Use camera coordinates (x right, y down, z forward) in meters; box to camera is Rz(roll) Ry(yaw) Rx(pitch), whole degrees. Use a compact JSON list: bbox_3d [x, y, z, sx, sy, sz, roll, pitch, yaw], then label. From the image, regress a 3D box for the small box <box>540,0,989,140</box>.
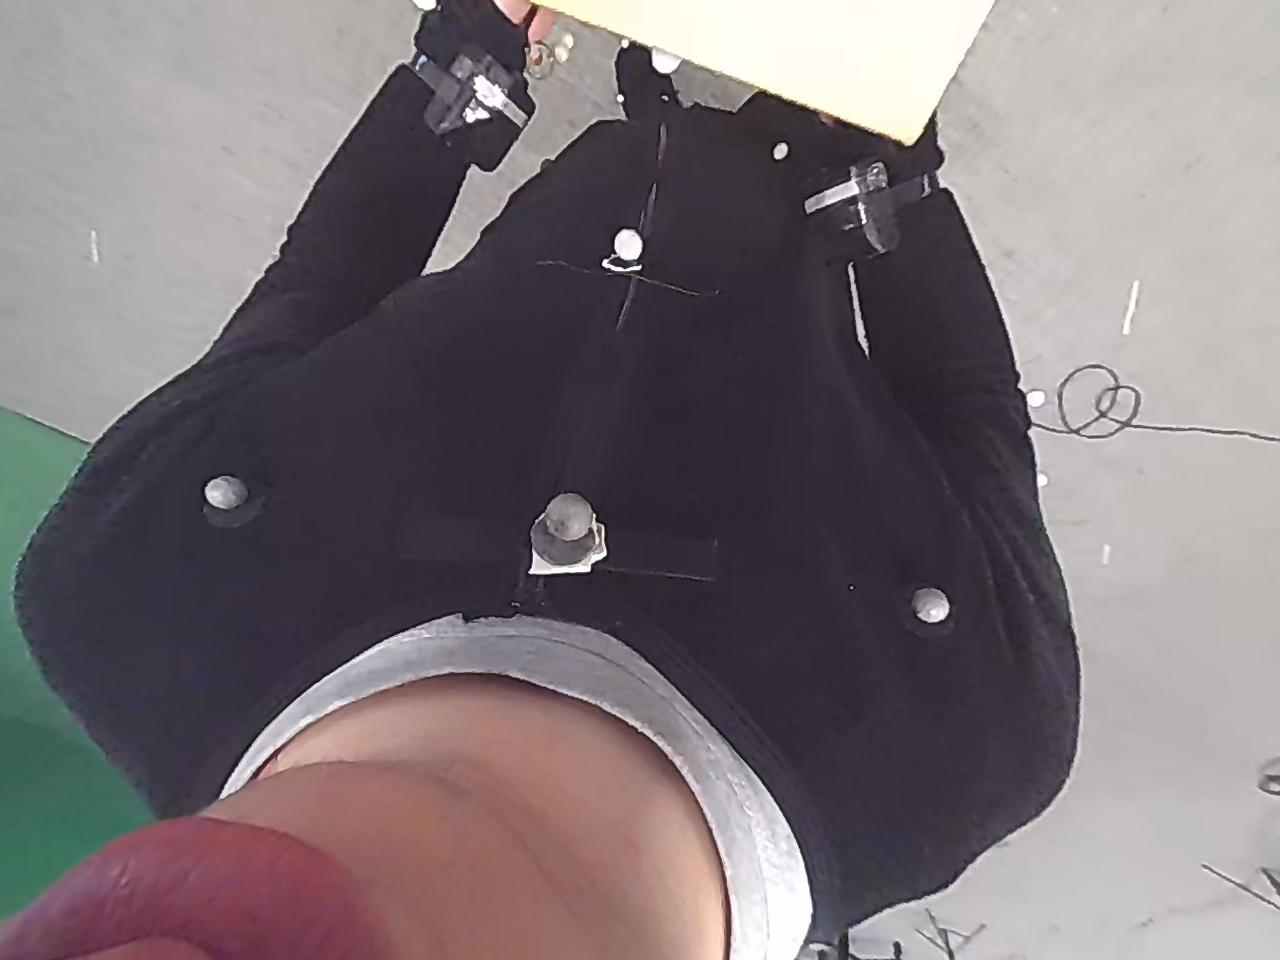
[{"bbox_3d":[0.039,-0.241,0.159,0.168,0.176,0.179,16,134,-6],"label":"small box"}]
